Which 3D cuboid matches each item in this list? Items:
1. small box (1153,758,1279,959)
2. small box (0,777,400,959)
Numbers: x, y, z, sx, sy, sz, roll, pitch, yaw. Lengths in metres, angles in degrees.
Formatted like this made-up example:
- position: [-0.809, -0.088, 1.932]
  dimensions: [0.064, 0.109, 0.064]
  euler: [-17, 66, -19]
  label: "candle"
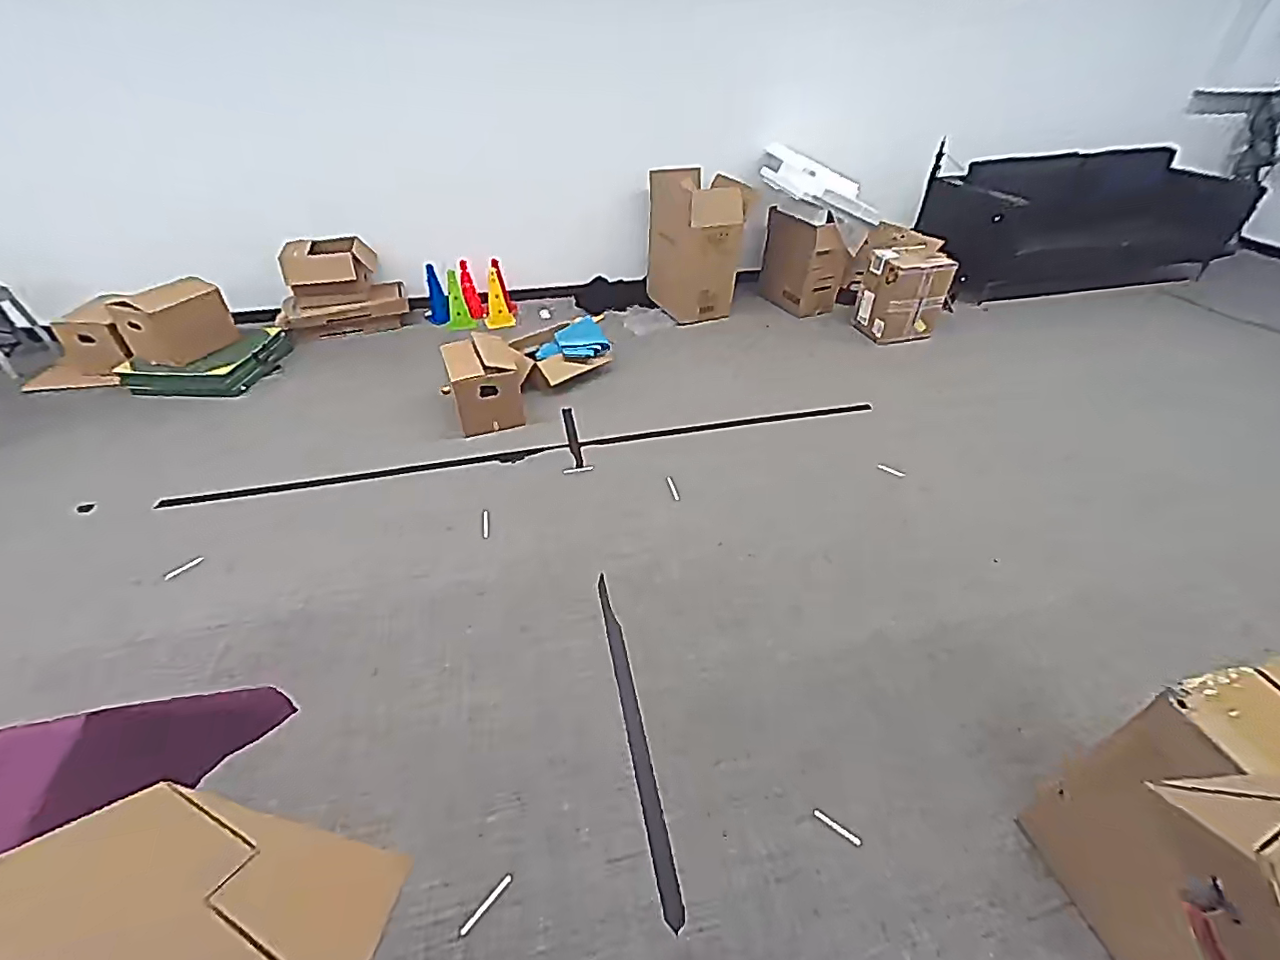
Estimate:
- position: [0.377, 0.220, 0.233]
  dimensions: [0.168, 0.179, 0.176]
  euler: [-22, 64, 25]
  label: "small box"
- position: [-0.246, 0.282, 0.276]
  dimensions: [0.179, 0.168, 0.176]
  euler: [22, 70, -6]
  label: "small box"
